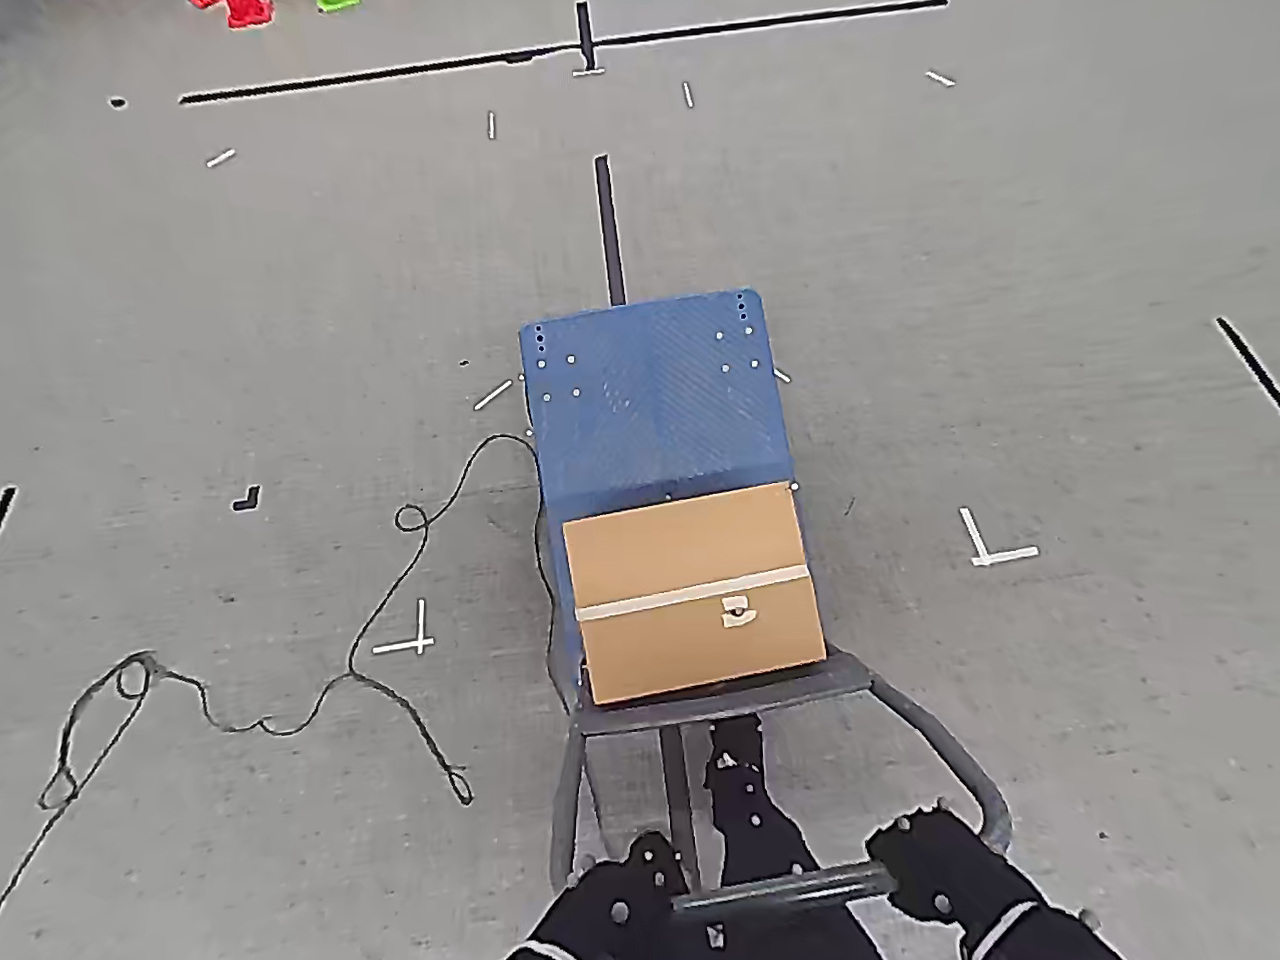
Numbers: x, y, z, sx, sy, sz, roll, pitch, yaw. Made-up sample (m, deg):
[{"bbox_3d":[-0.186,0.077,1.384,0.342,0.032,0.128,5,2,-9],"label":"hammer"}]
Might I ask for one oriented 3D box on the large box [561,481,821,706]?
[{"bbox_3d":[0.081,0.203,1.070,0.408,0.320,0.320,-11,87,-3],"label":"large box"}]
